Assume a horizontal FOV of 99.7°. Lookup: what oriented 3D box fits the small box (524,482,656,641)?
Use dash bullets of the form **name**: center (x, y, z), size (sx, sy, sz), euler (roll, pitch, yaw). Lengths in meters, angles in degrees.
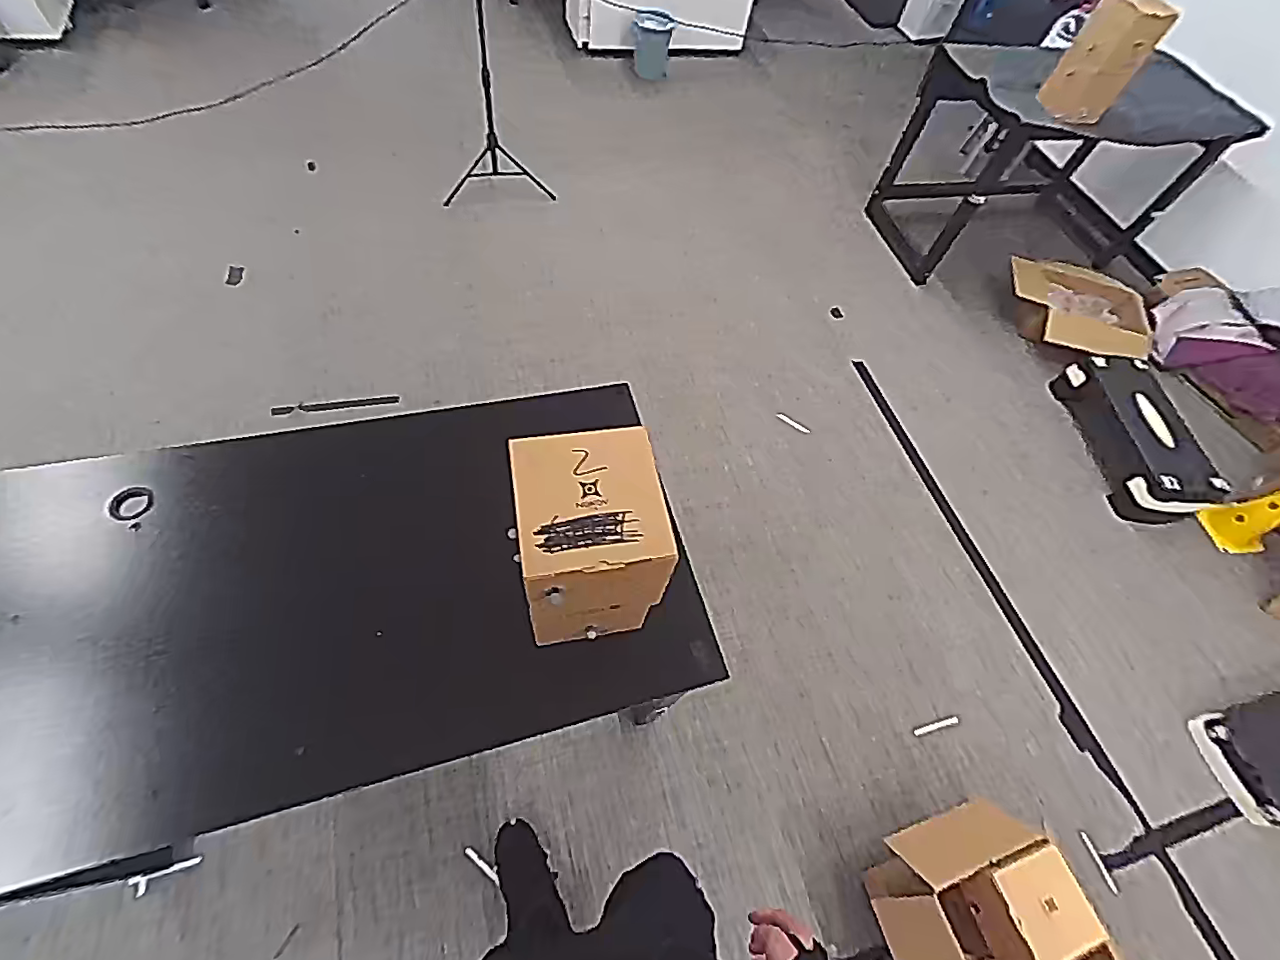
- **small box**: center (-0.082, 0.125, 0.812), size (0.168, 0.176, 0.179), euler (-7, 61, -10)
